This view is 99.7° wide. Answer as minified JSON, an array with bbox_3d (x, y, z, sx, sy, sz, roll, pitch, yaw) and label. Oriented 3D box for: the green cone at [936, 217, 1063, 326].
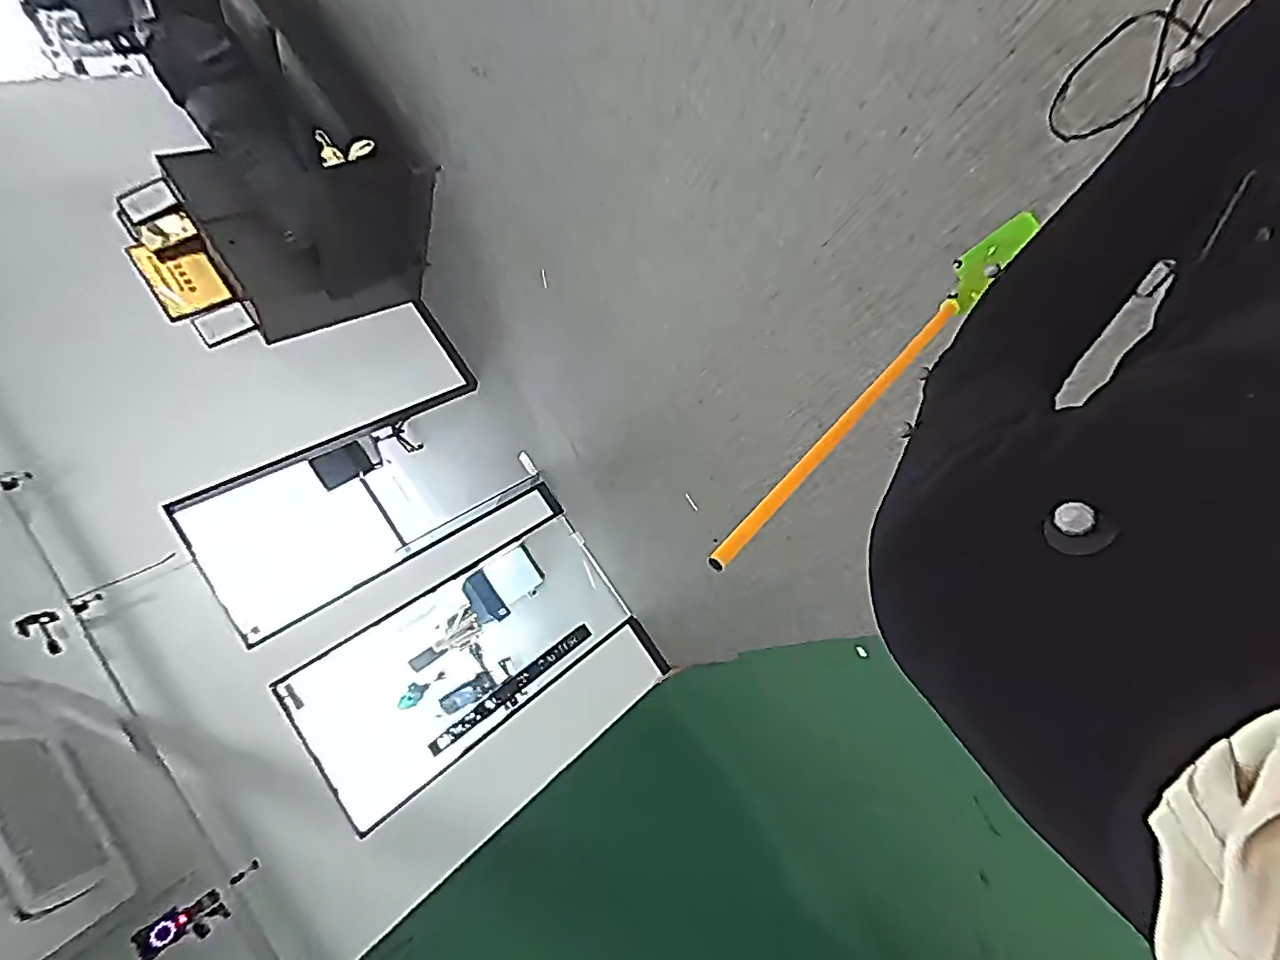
[{"bbox_3d":[0.769,-0.432,1.240,0.200,0.368,0.202,56,147,2],"label":"green cone"}]
